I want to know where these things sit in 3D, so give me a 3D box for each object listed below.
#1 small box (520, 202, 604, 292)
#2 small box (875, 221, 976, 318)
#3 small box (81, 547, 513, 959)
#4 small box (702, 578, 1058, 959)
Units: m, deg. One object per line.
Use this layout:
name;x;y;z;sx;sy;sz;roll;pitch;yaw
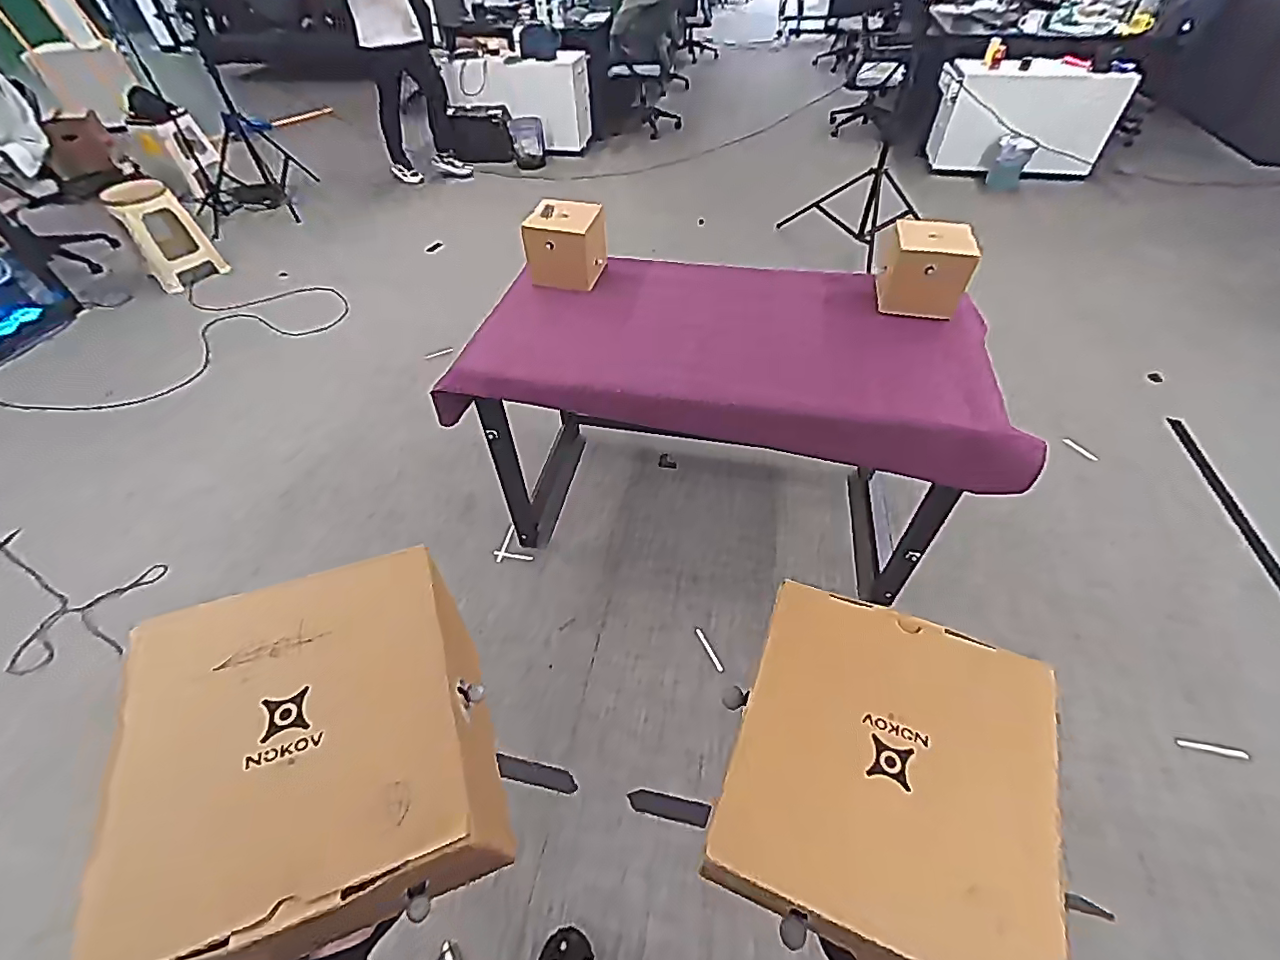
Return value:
small box;-0.206;-0.636;1.480;0.179;0.176;0.168;11;51;9
small box;0.702;-0.526;1.355;0.179;0.176;0.168;9;50;9
small box;-0.188;0.177;0.350;0.168;0.176;0.179;-15;54;-16
small box;0.146;0.202;0.368;0.168;0.176;0.179;16;53;17
